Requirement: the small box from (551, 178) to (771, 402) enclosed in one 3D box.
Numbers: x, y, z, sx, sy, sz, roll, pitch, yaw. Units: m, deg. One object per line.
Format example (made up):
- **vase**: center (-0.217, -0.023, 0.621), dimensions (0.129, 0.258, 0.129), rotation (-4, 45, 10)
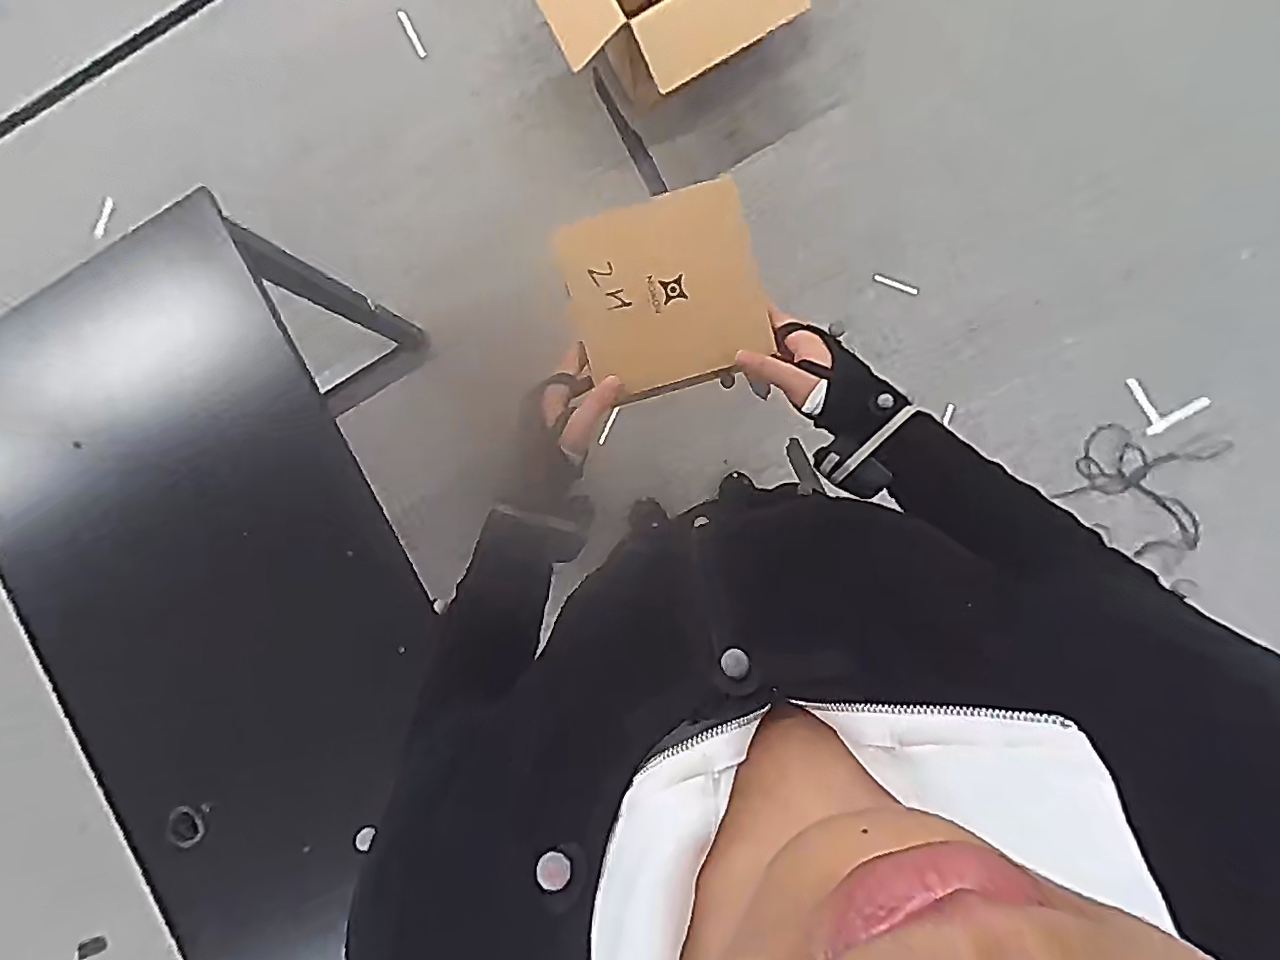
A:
- **small box**: center (0.021, -0.185, 0.580), dimensions (0.179, 0.176, 0.168), rotation (-15, 95, 3)
